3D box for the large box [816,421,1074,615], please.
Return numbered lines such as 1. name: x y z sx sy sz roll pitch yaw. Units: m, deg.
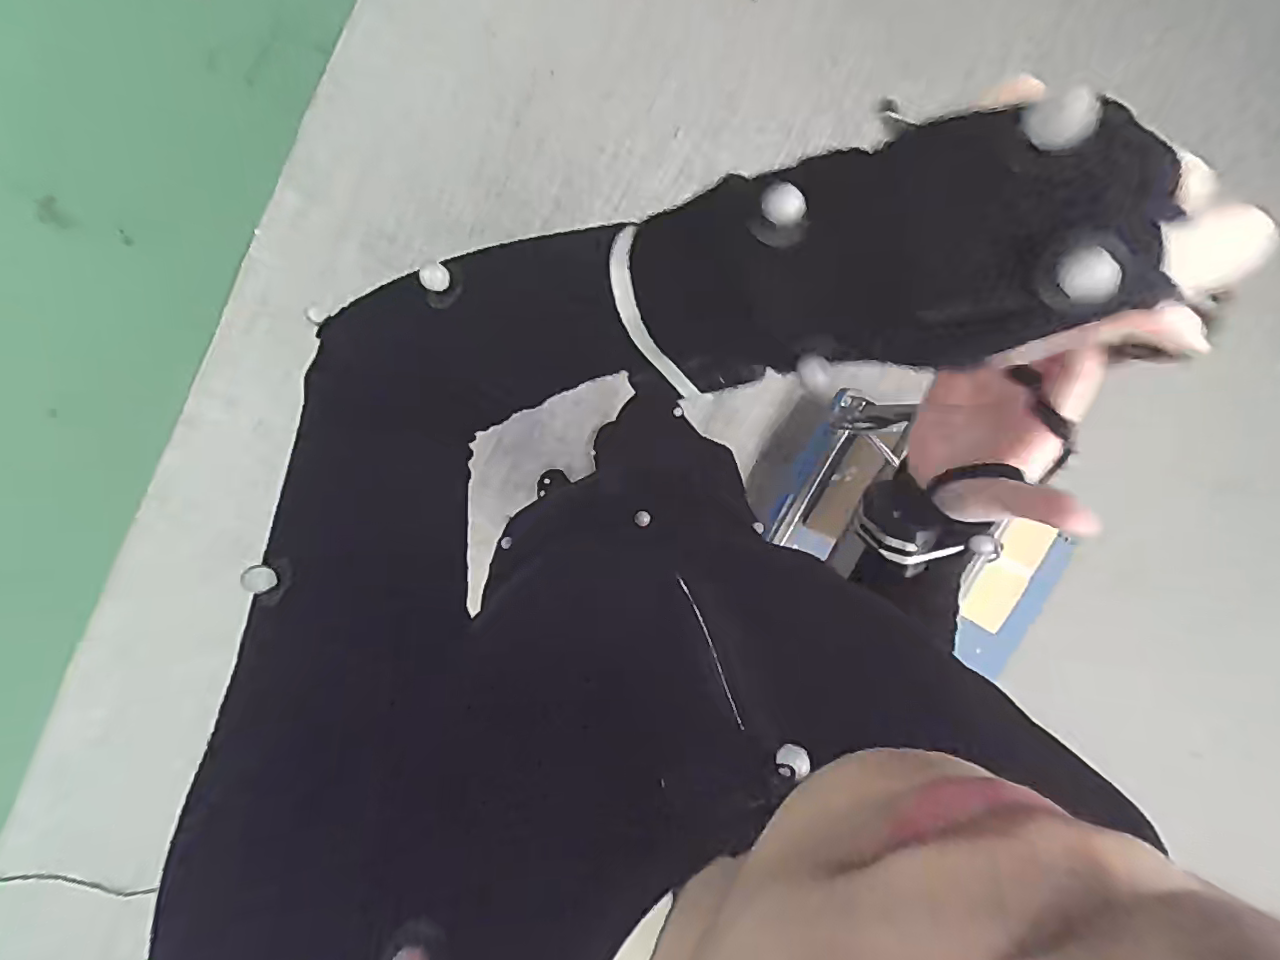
1. large box: 0.736 0.076 1.363 0.408 0.320 0.320 29 93 -8
